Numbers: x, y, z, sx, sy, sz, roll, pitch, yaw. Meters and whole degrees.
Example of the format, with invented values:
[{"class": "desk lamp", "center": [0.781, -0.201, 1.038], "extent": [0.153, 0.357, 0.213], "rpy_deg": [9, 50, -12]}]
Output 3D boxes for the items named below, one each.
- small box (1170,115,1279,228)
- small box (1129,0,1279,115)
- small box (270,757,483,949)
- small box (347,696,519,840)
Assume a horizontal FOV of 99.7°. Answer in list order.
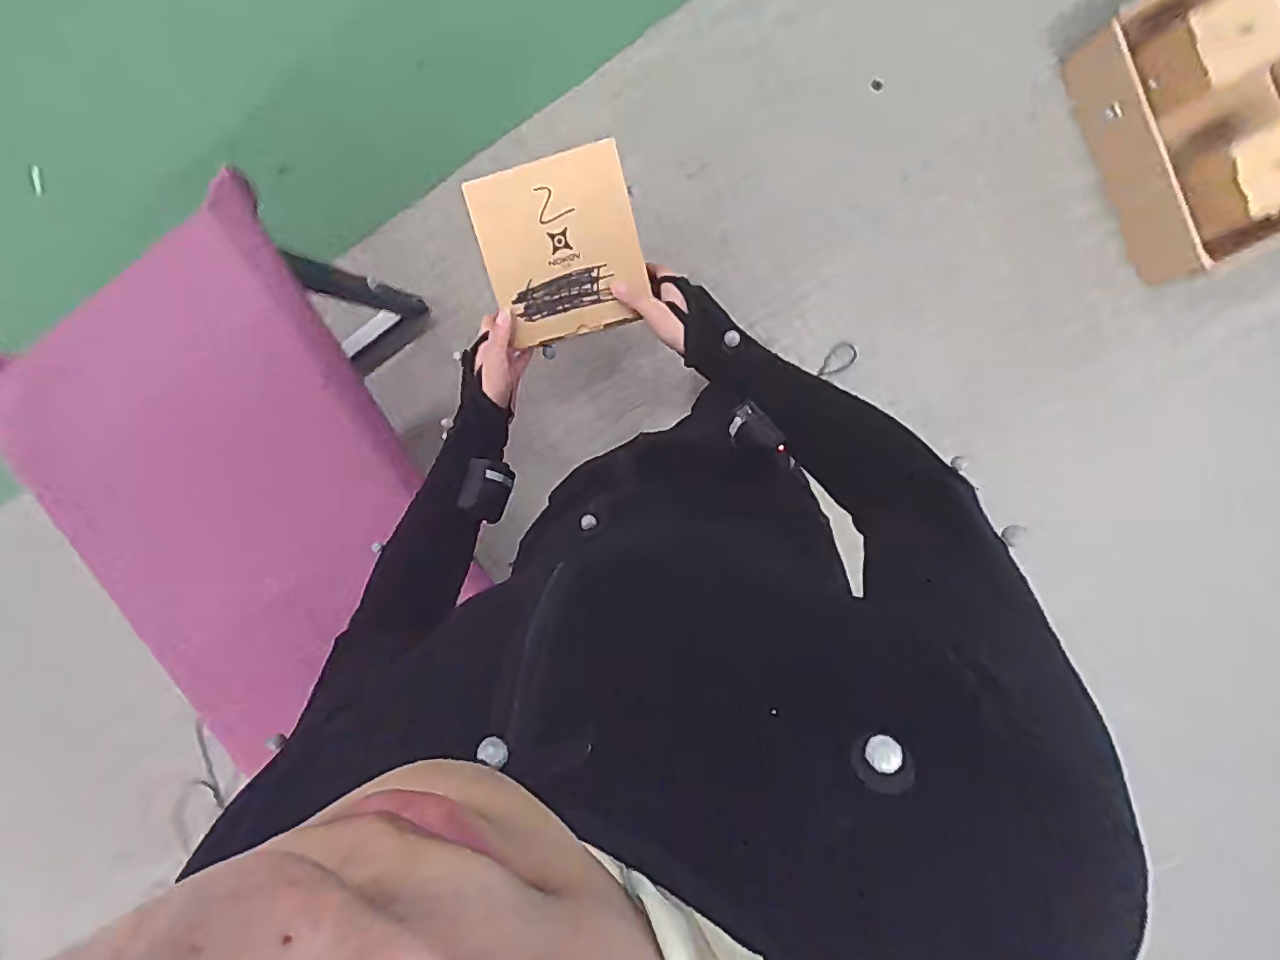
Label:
[{"class": "small box", "center": [1.393, -0.711, 1.237], "extent": [0.179, 0.176, 0.168], "rpy_deg": [-25, 96, 9]}, {"class": "small box", "center": [1.265, -0.971, 1.205], "extent": [0.179, 0.176, 0.168], "rpy_deg": [-26, 96, 8]}, {"class": "small box", "center": [-0.342, 0.527, 0.747], "extent": [0.179, 0.176, 0.168], "rpy_deg": [-33, 95, 11]}, {"class": "small box", "center": [-0.334, 0.505, 0.909], "extent": [0.179, 0.176, 0.168], "rpy_deg": [-33, 95, 9]}]
